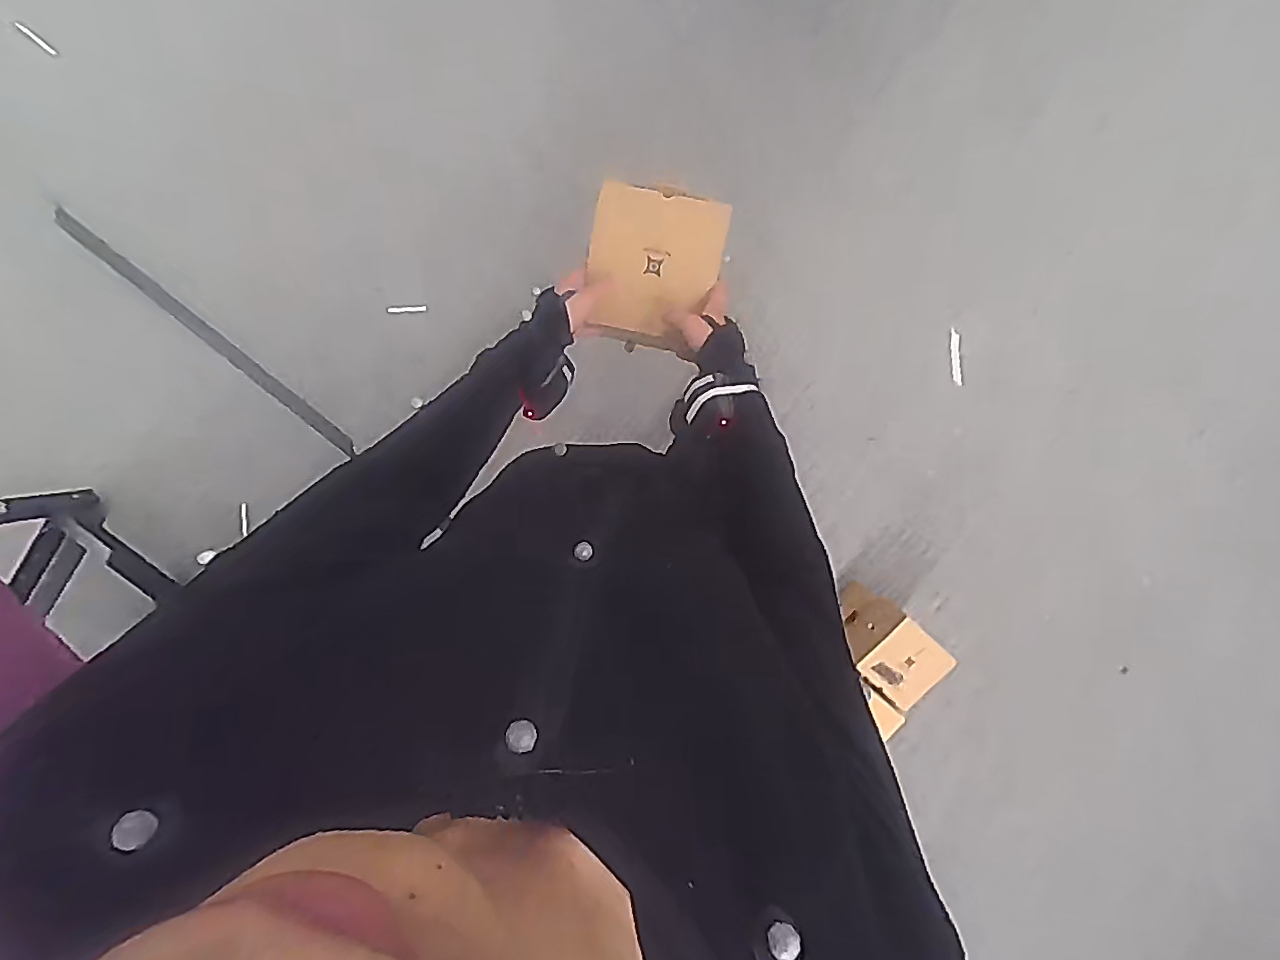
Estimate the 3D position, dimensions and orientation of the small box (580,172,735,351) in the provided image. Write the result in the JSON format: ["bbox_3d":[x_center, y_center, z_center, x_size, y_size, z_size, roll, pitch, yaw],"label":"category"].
[{"bbox_3d":[0.020,-0.287,0.751,0.168,0.176,0.179,12,99,-1],"label":"small box"}]
